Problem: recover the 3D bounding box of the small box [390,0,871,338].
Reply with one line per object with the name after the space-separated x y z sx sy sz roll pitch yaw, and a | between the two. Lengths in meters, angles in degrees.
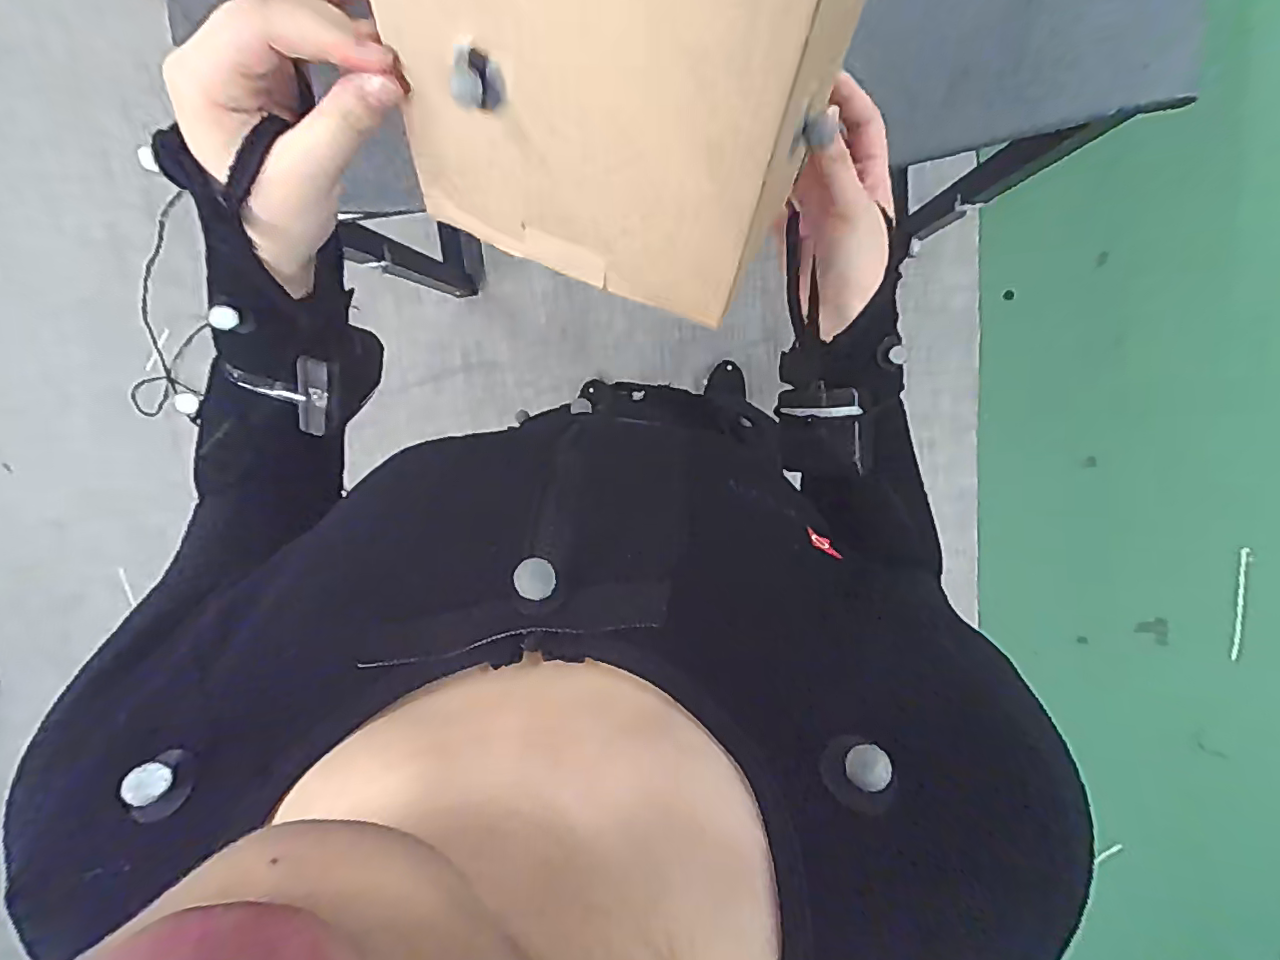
0.006 -0.205 0.242 0.168 0.176 0.179 25 64 6 | small box
